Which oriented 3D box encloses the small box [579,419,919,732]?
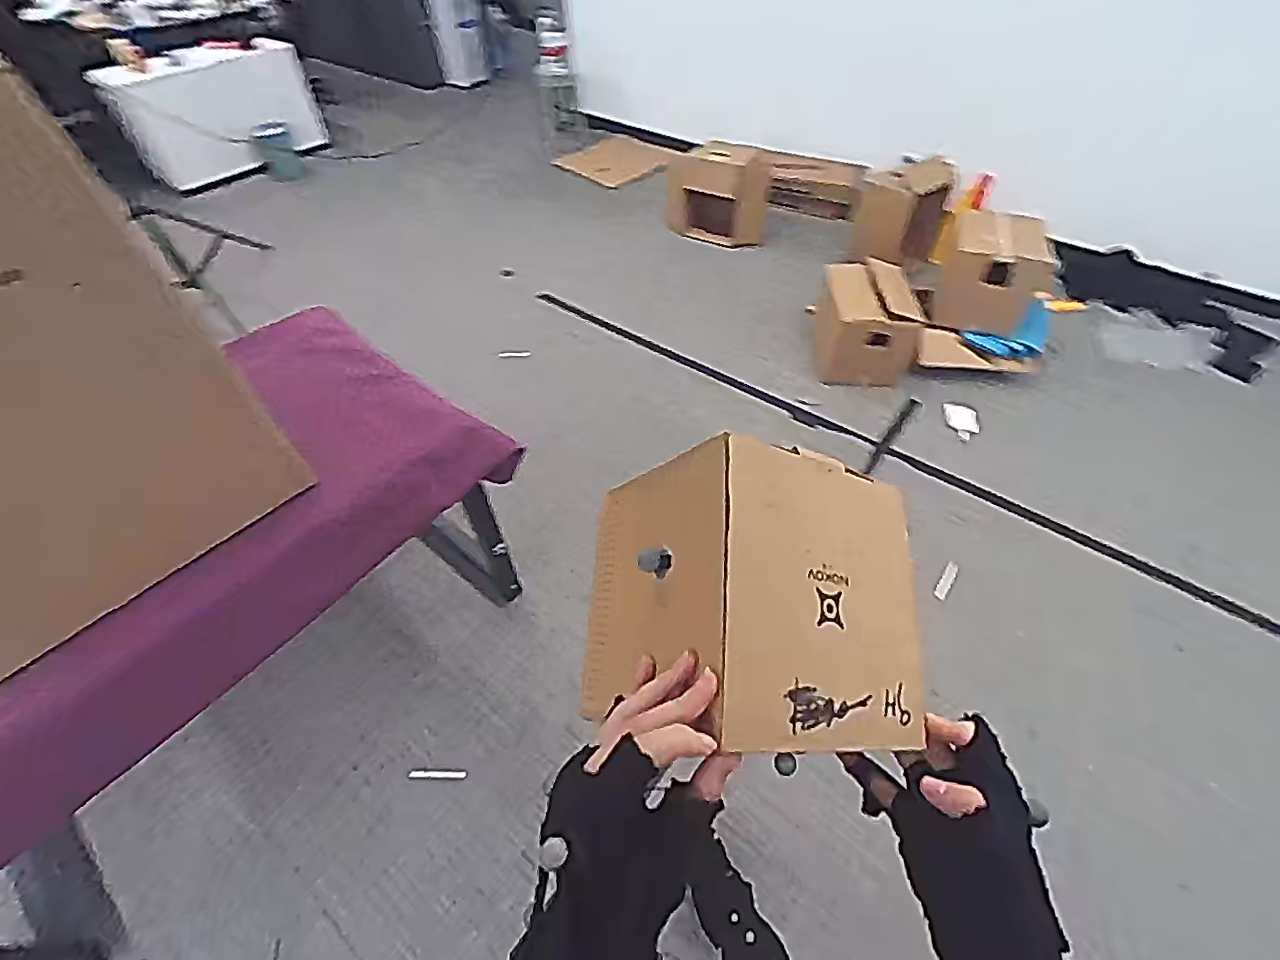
[{"bbox_3d":[0.066,0.083,0.395,0.168,0.176,0.179,14,66,-28],"label":"small box"}]
